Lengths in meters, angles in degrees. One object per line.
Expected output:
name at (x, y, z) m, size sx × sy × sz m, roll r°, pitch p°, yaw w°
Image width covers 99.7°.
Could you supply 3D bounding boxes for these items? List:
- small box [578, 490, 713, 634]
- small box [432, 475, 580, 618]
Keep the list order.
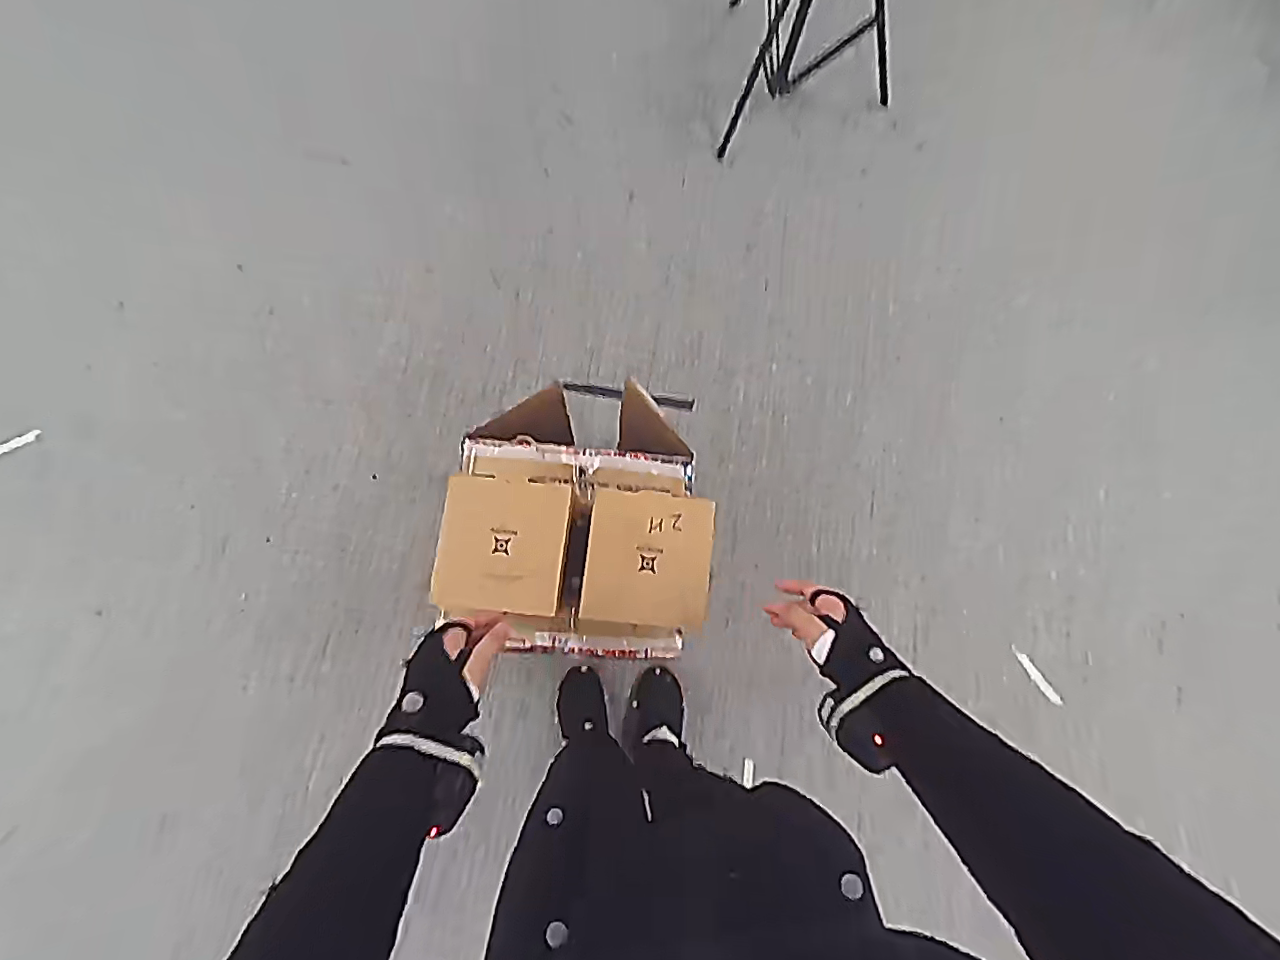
small box at (0.005, 0.122, 0.796) m, size 0.168 × 0.176 × 0.179 m, roll 7°, pitch 78°, yaw -3°
small box at (-0.182, 0.099, 0.791) m, size 0.168 × 0.176 × 0.179 m, roll 6°, pitch 81°, yaw 0°
